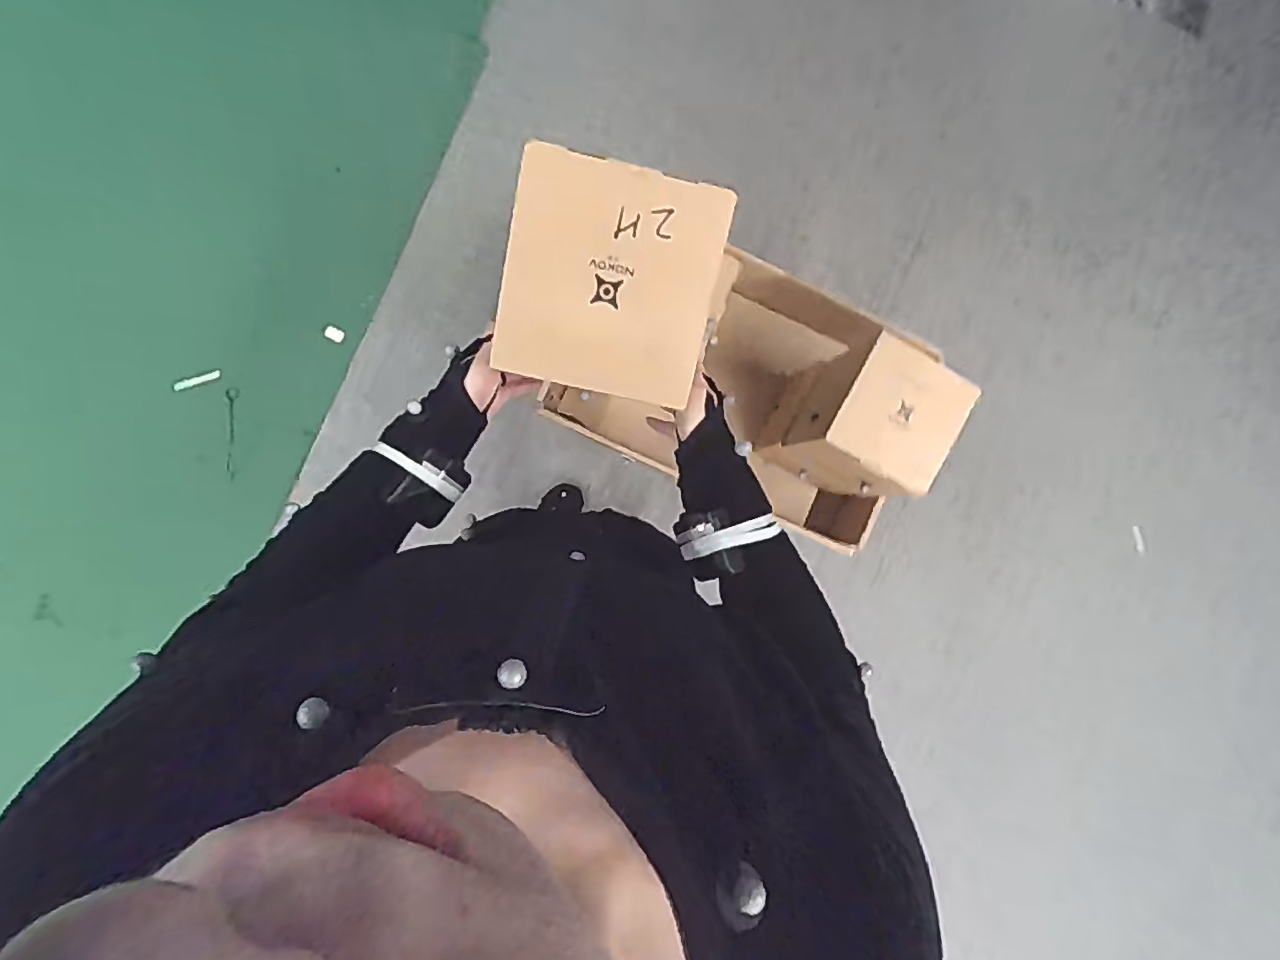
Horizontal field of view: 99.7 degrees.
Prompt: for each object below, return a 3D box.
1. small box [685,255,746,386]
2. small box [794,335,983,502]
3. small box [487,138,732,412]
[{"bbox_3d":[0.027,-0.245,0.796,0.179,0.176,0.168,24,88,-3],"label":"small box"},{"bbox_3d":[0.355,-0.082,0.814,0.168,0.176,0.179,31,87,-3],"label":"small box"},{"bbox_3d":[-0.029,-0.171,0.503,0.168,0.176,0.179,12,100,-5],"label":"small box"}]
